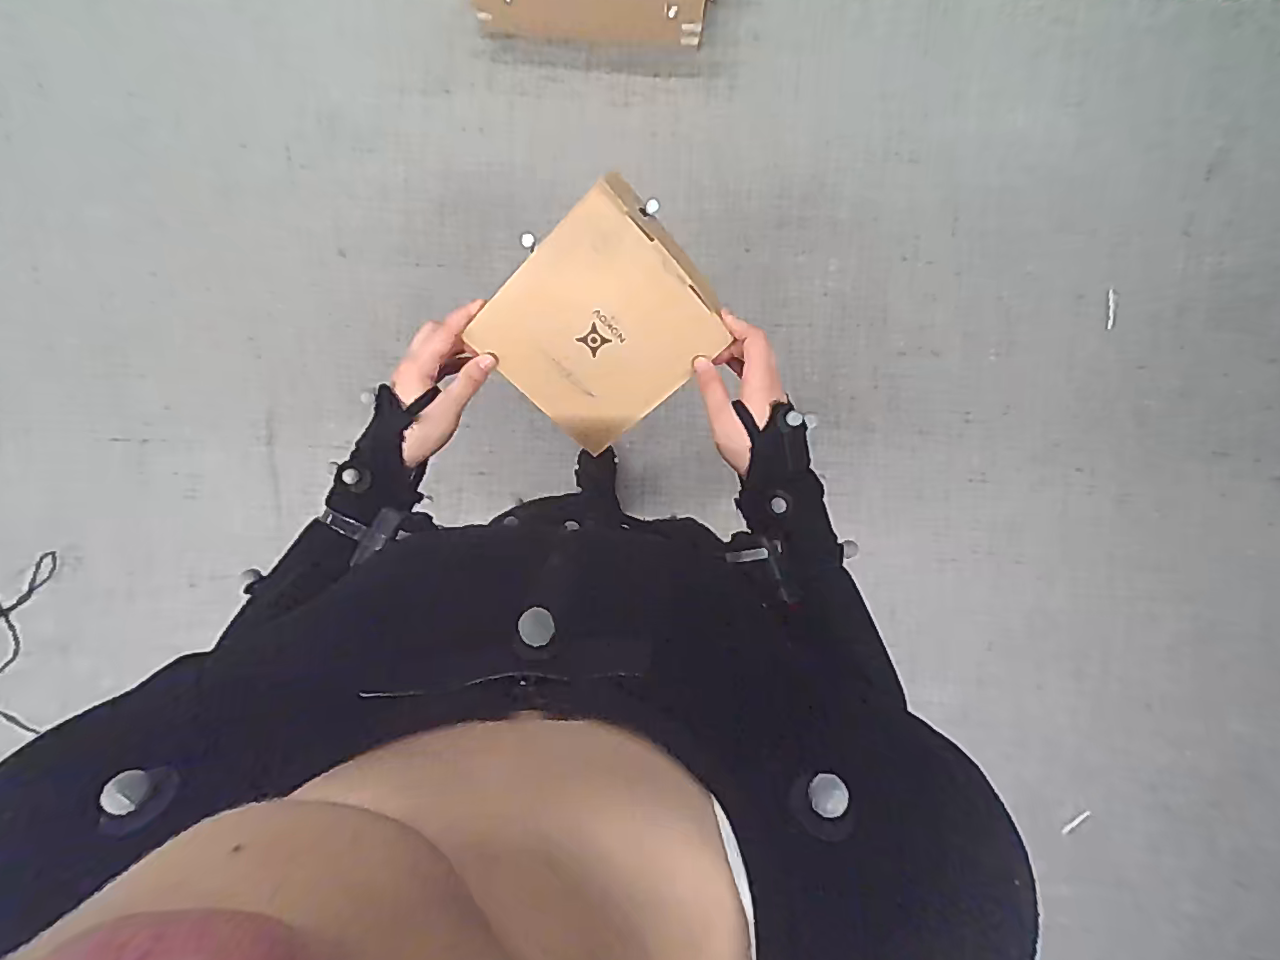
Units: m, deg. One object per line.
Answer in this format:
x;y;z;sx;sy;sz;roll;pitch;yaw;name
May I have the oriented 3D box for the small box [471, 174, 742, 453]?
-0.028;-0.167;0.526;0.179;0.176;0.168;-38;114;23;small box
